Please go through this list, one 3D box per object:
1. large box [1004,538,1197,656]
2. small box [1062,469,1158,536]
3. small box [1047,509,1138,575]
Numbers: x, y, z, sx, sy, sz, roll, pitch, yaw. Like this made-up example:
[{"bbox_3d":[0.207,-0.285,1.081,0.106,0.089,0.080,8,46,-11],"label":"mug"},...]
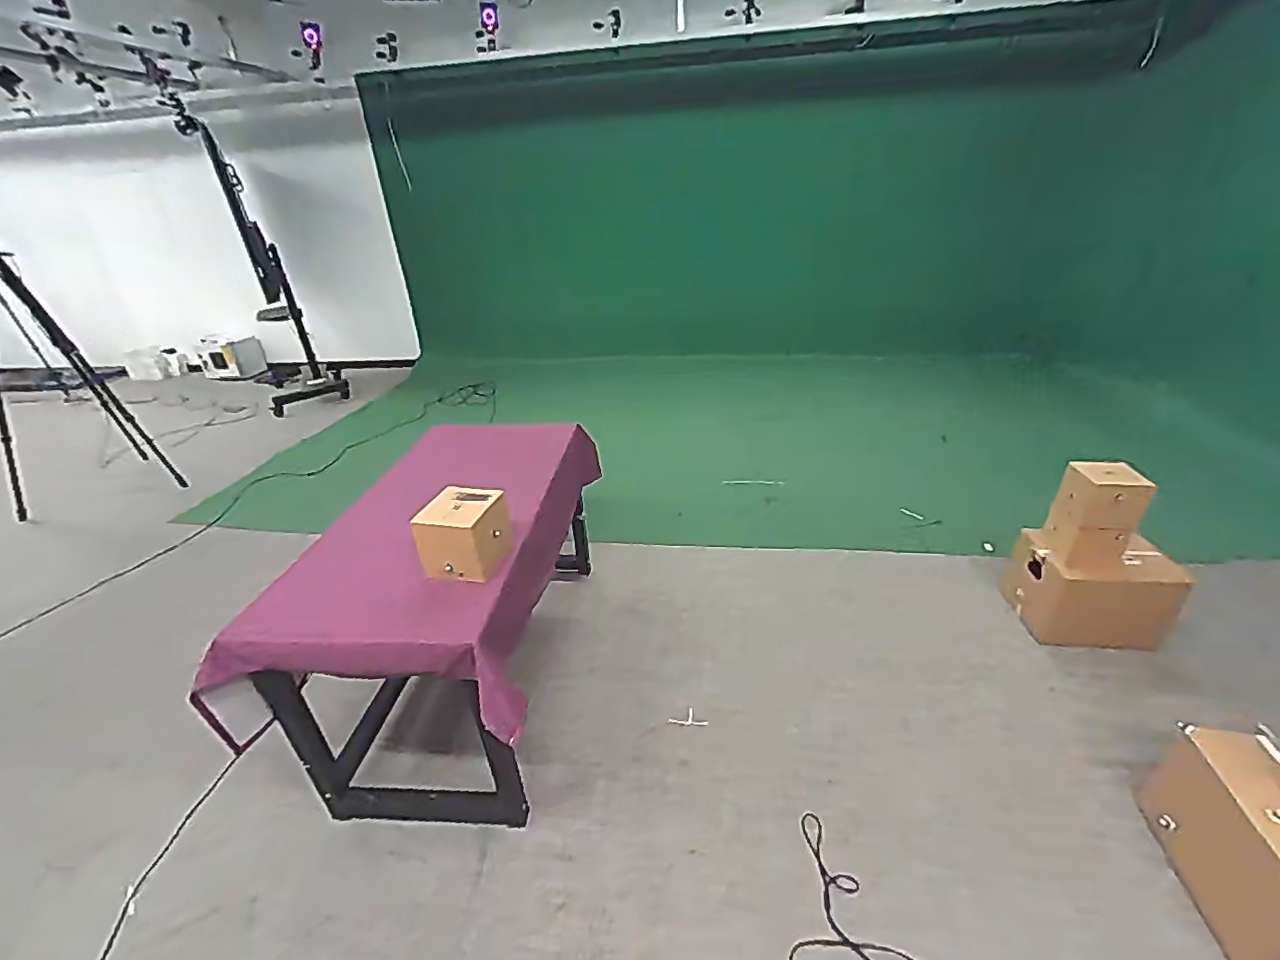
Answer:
[{"bbox_3d":[1.674,0.429,2.011,0.408,0.320,0.320,1,28,7],"label":"large box"},{"bbox_3d":[1.564,0.076,1.816,0.179,0.176,0.168,2,29,9],"label":"small box"},{"bbox_3d":[1.574,0.218,1.899,0.179,0.176,0.168,2,28,9],"label":"small box"}]
